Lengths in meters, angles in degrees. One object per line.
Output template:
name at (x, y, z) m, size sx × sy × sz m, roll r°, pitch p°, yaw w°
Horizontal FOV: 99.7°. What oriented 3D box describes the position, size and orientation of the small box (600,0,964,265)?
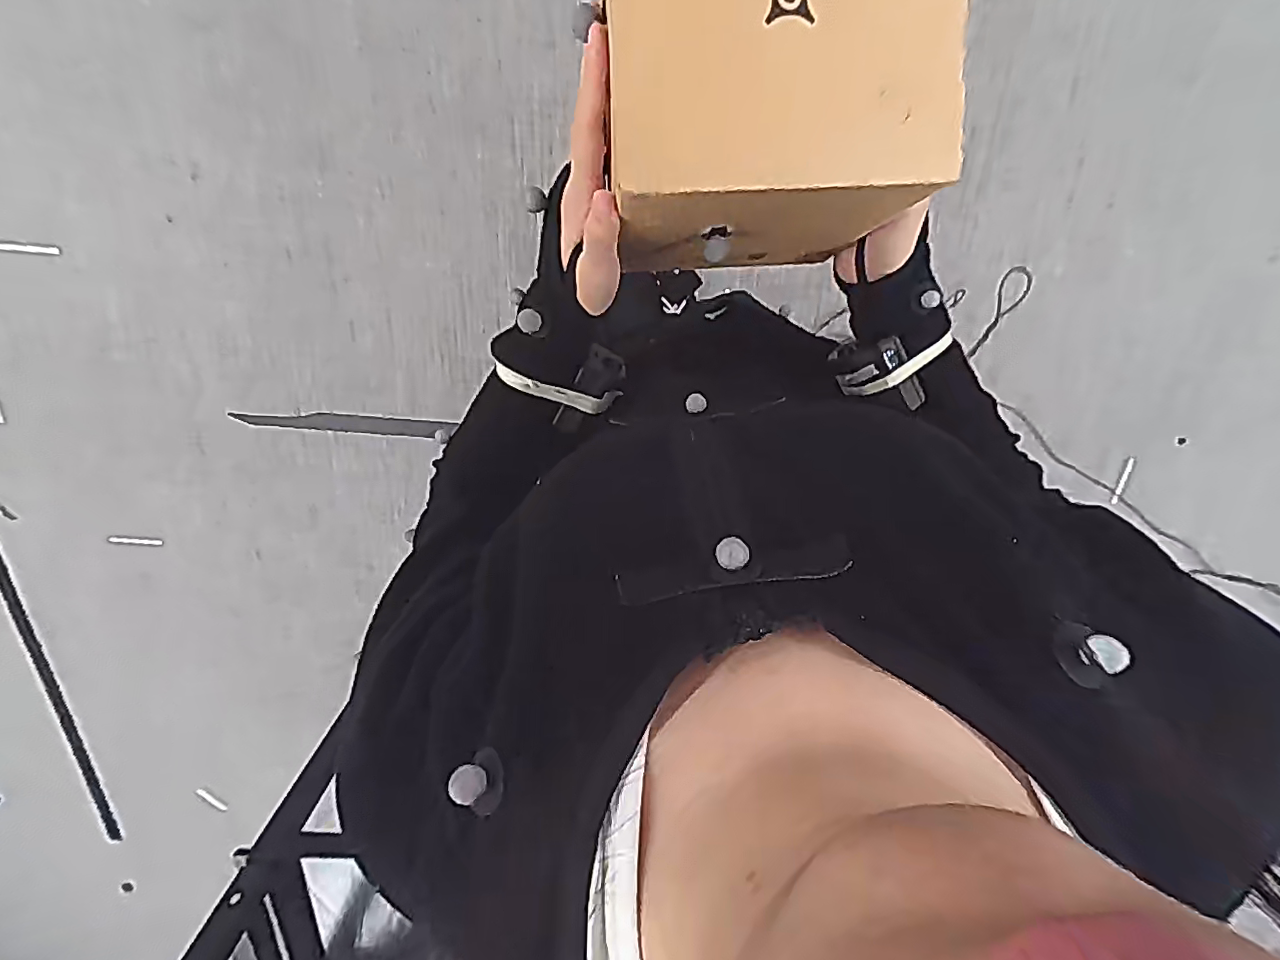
small box at (0.062, -0.235, 0.322) m, size 0.168 × 0.176 × 0.179 m, roll -4°, pitch 98°, yaw -3°
